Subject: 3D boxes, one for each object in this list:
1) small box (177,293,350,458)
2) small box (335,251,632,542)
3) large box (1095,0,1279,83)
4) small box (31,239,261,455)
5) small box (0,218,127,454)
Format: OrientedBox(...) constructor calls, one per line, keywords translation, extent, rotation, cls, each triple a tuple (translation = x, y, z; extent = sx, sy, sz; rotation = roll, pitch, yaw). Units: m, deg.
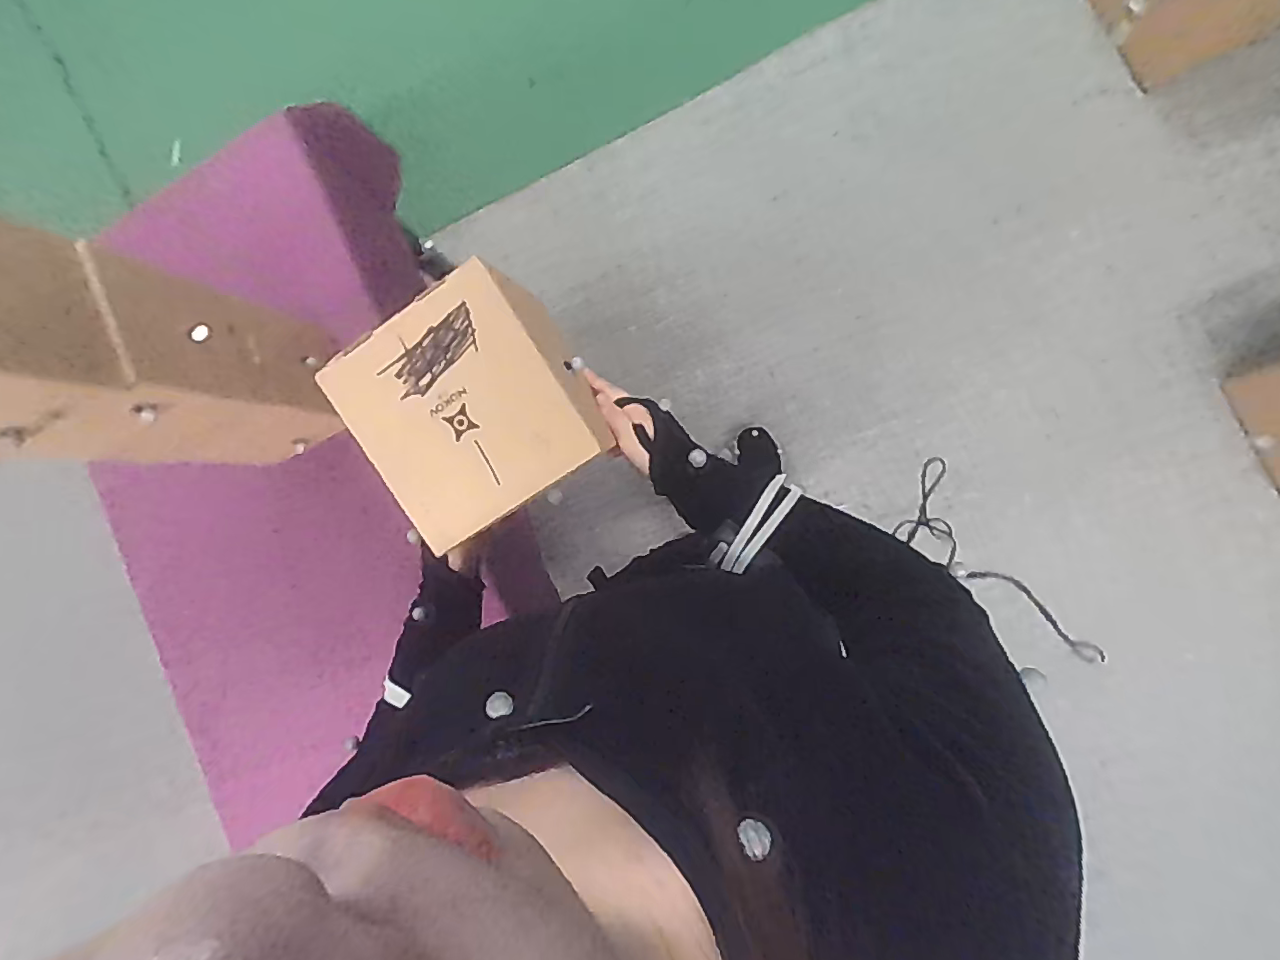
OrientedBox(translation=(-0.566, -0.141, 0.798), extent=(0.179, 0.176, 0.168), rotation=(-25, 86, 8), cls="small box")
OrientedBox(translation=(-0.123, -0.072, 0.500), extent=(0.168, 0.176, 0.179), rotation=(-30, 96, 10), cls="small box")
OrientedBox(translation=(1.333, -1.189, 1.168), extent=(0.408, 0.320, 0.320), rotation=(-24, 85, 7), cls="large box")
OrientedBox(translation=(-0.591, -0.138, 0.634), extent=(0.179, 0.176, 0.168), rotation=(-25, 85, 9), cls="small box")
OrientedBox(translation=(-0.621, -0.133, 0.474), extent=(0.168, 0.176, 0.179), rotation=(-25, 87, 10), cls="small box")
